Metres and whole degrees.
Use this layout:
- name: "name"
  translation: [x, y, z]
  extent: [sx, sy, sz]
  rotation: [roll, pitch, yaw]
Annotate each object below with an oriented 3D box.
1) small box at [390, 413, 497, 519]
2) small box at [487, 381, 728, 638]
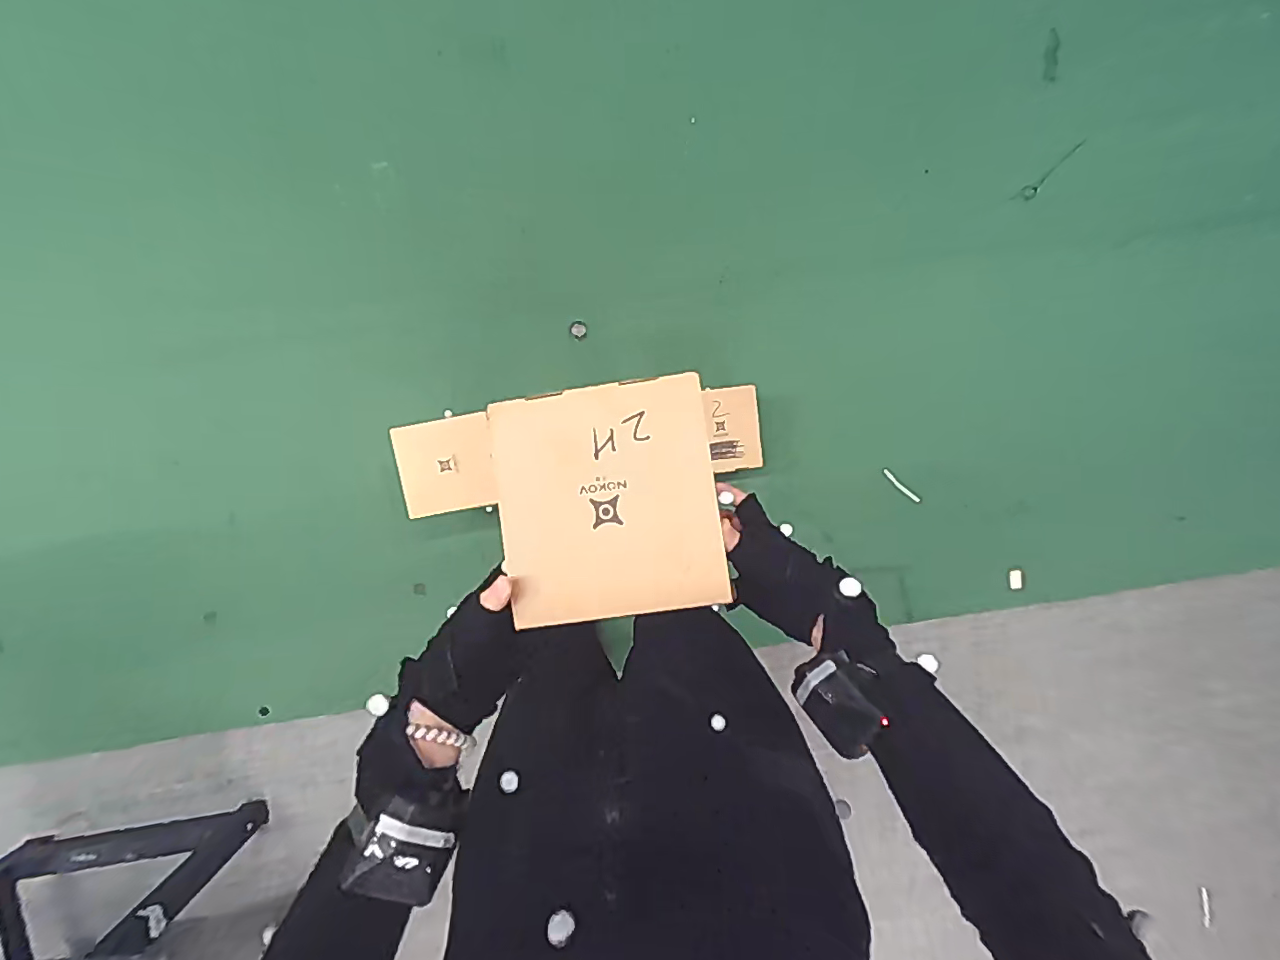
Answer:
- name: "small box"
  translation: [-0.340, -0.028, 1.028]
  extent: [0.179, 0.176, 0.168]
  rotation: [-11, 94, -1]
- name: "small box"
  translation: [-0.018, 0.025, 0.481]
  extent: [0.168, 0.176, 0.179]
  rotation: [-9, 87, 4]
